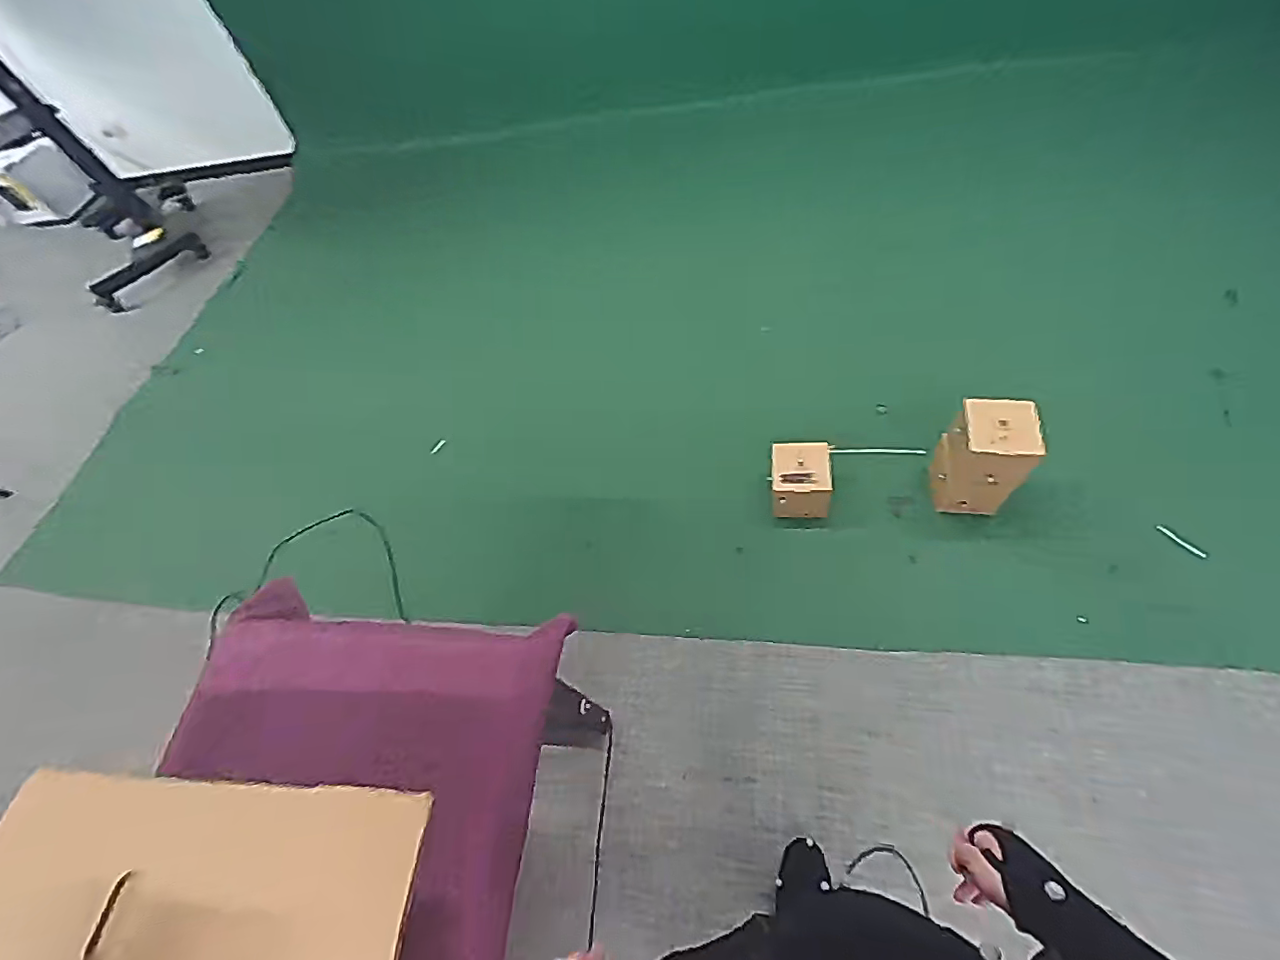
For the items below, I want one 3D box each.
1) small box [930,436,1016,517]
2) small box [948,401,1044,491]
[{"bbox_3d":[0.975,-0.010,1.601,0.168,0.176,0.179,3,60,13],"label":"small box"},{"bbox_3d":[0.950,-0.091,1.460,0.168,0.176,0.179,5,61,14],"label":"small box"}]
